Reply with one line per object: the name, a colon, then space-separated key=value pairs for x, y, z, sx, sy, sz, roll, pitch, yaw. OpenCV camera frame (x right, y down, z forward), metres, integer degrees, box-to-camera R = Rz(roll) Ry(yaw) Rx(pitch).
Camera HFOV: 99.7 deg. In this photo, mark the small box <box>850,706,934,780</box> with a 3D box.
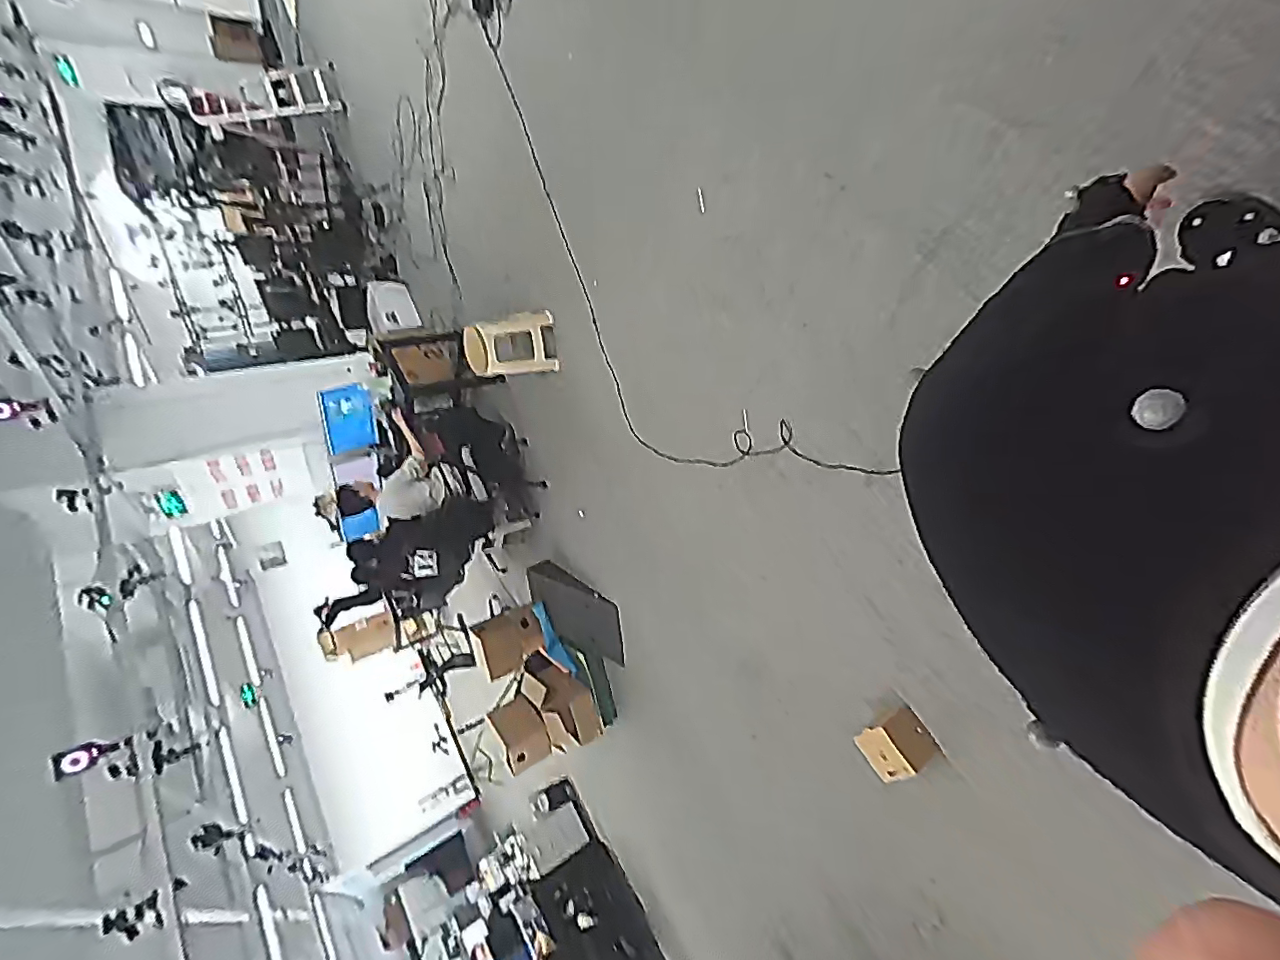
small box: x=0.901 y=0.933 z=1.933 sx=0.179 sy=0.176 sz=0.168 roll=56 pitch=145 yaw=21
